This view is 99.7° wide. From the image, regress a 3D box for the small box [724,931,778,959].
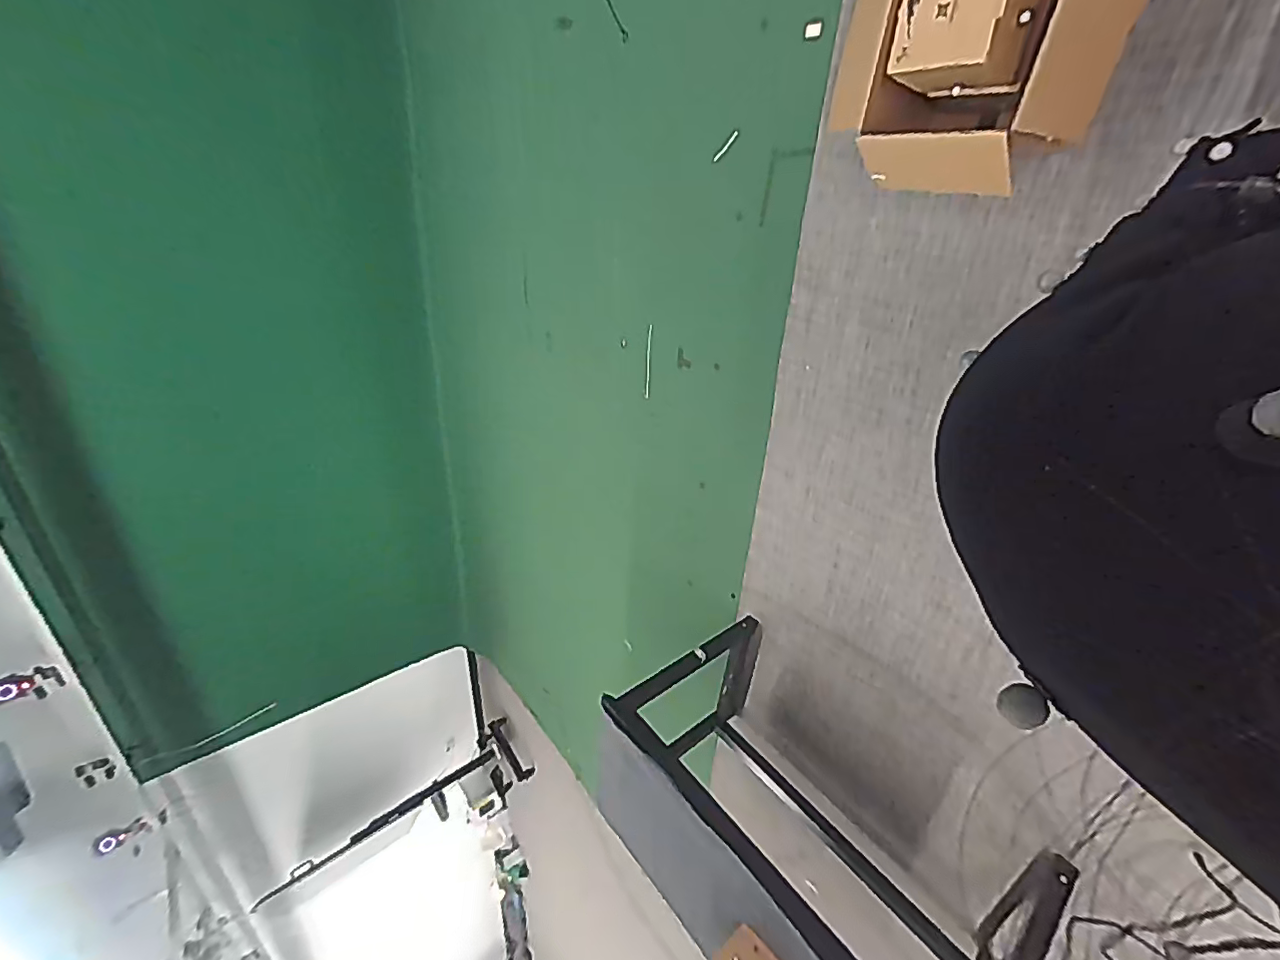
[{"bbox_3d":[0.287,1.313,1.367,0.168,0.176,0.179,22,122,48],"label":"small box"}]
